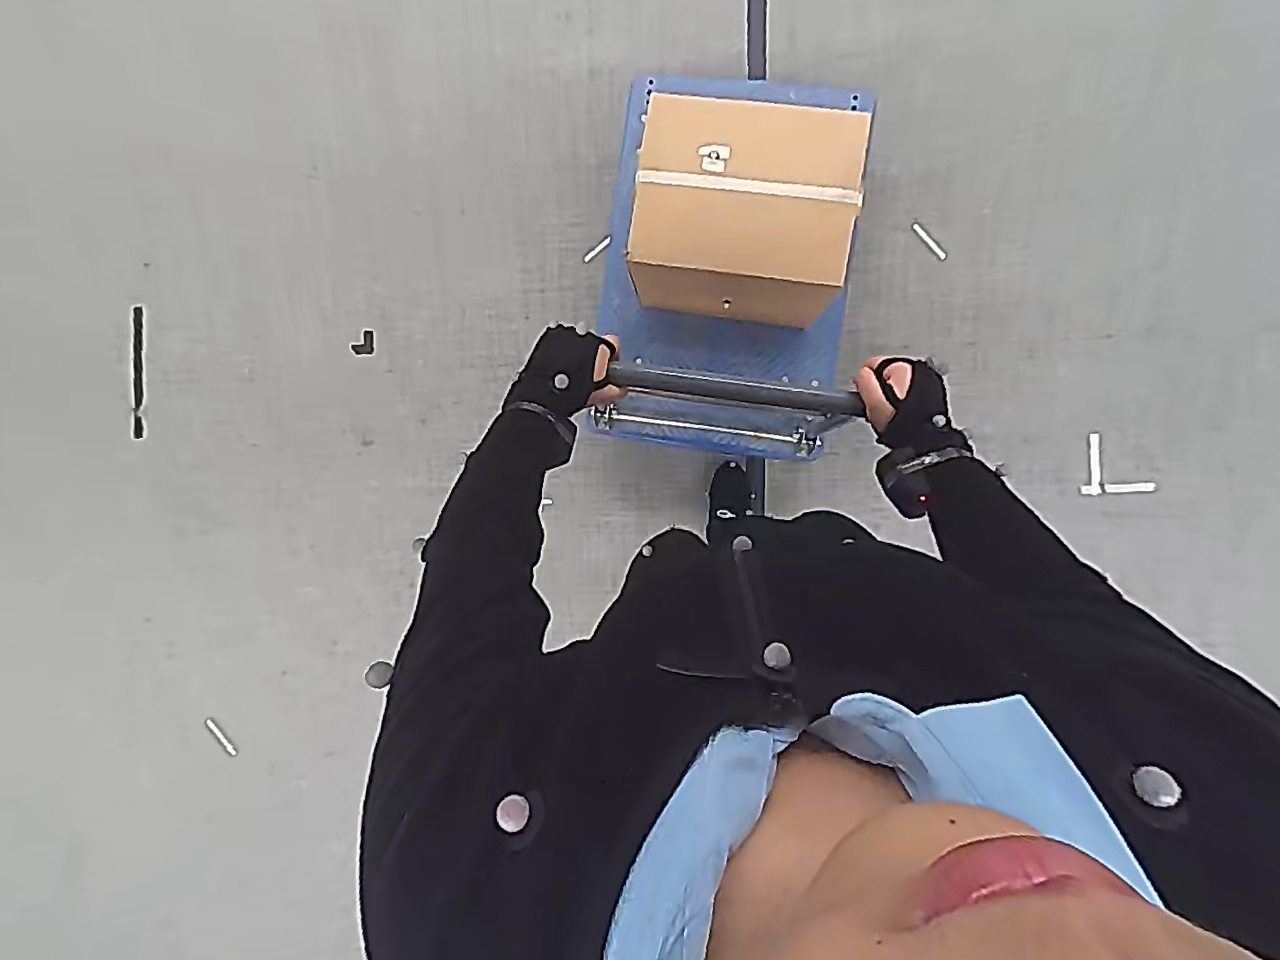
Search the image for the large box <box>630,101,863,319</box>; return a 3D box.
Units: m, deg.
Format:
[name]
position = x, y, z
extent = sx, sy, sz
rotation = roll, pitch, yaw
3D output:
[large box]
position = 0.213, -0.550, 1.159
extent = 0.408, 0.320, 0.320
rotation = 8, 92, 6
